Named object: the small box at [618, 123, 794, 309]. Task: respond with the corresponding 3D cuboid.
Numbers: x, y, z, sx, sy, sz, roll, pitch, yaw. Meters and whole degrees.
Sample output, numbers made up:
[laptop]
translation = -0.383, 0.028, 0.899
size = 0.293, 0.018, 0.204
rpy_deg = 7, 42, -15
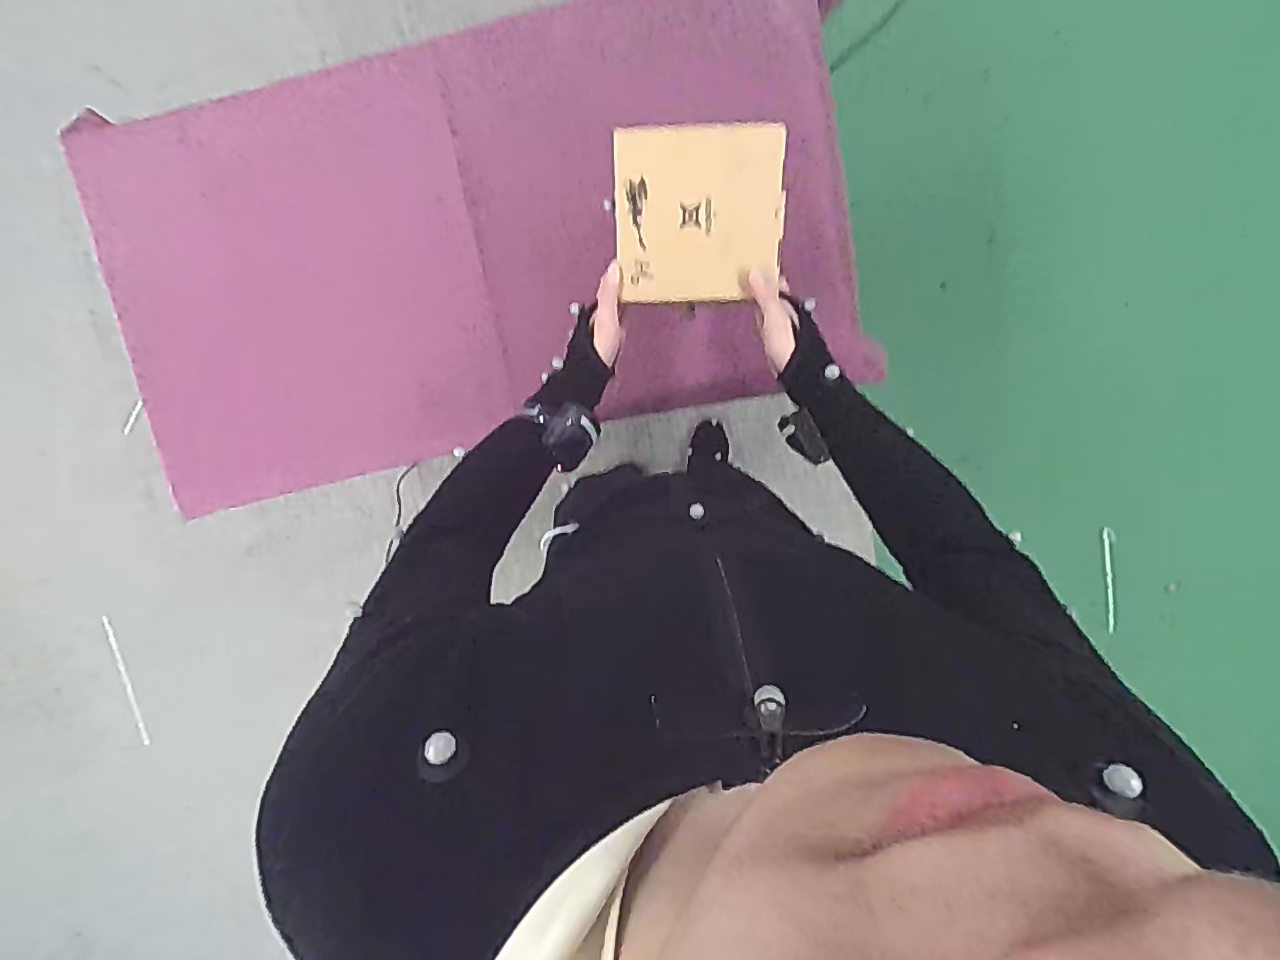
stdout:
[small box]
translation = 0.065, -0.291, 0.628
size = 0.179, 0.176, 0.168
rpy_deg = 0, 104, 1
